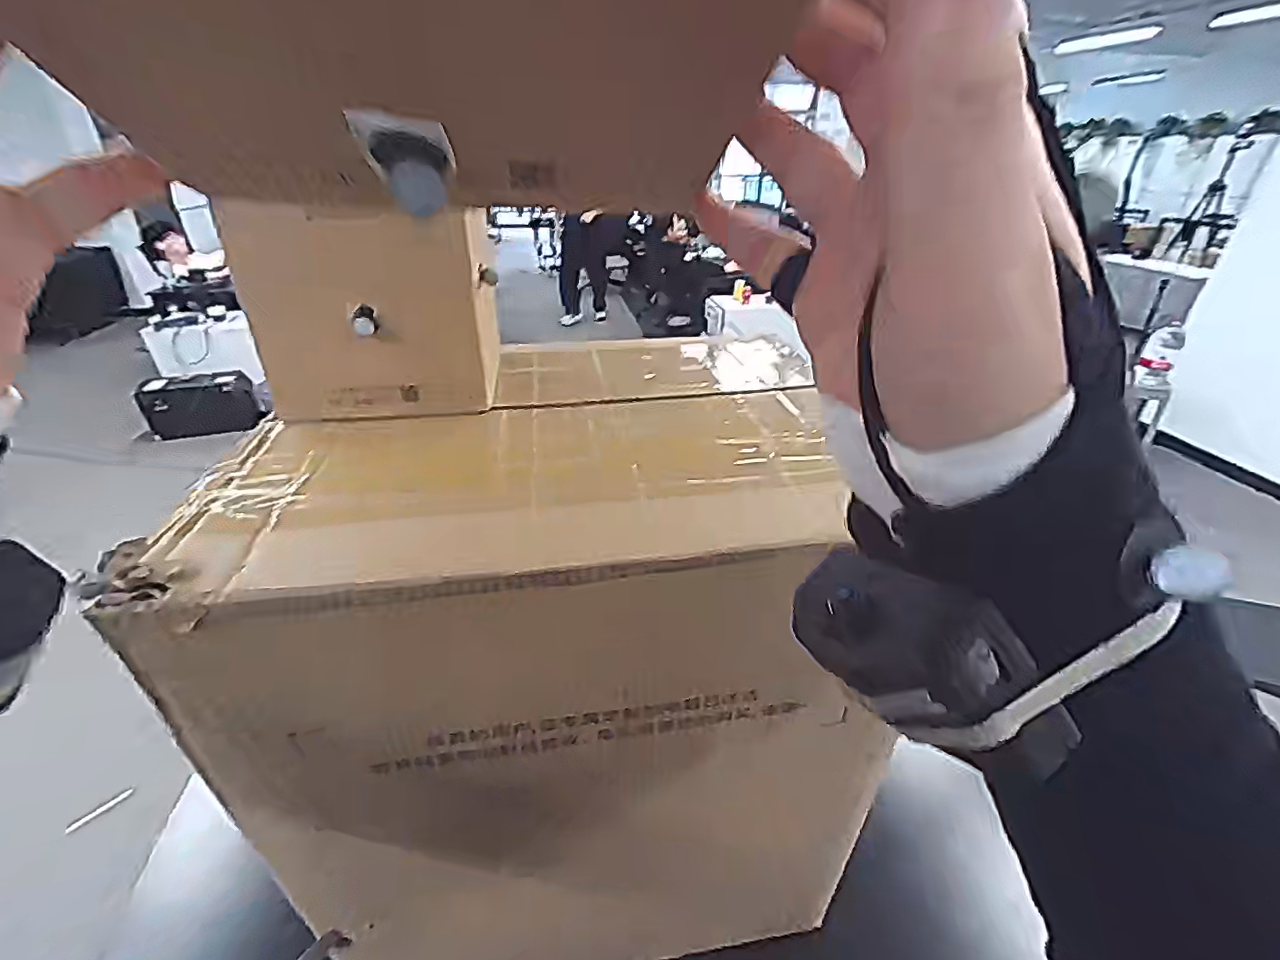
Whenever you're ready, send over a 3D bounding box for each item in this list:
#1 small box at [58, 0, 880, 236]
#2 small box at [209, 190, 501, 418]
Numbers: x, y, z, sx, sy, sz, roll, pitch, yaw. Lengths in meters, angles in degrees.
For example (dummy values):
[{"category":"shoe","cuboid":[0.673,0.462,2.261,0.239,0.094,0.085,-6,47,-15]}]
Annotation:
[{"category":"small box","cuboid":[-0.041,-0.174,0.111,0.168,0.179,0.176,-5,2,-10]},{"category":"small box","cuboid":[-0.216,-0.159,0.473,0.168,0.176,0.179,-4,30,-9]}]
